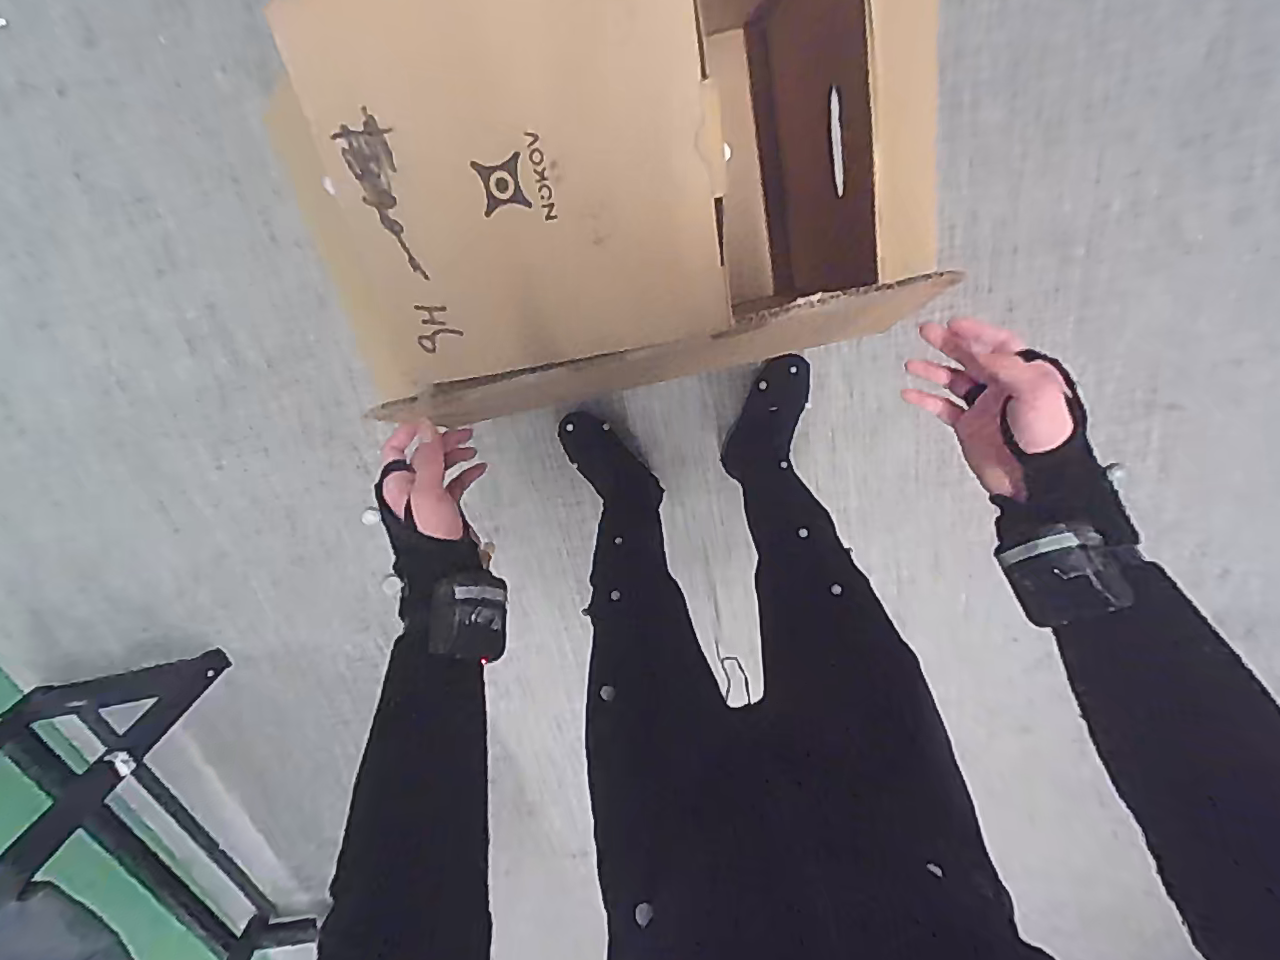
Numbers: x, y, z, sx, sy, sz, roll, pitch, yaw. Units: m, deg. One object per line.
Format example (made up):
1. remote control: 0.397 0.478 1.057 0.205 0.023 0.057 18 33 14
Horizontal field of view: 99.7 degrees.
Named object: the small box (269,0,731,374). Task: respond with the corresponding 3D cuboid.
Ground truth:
1. small box: -0.052 -0.173 0.314 0.179 0.176 0.168 -8 115 5
